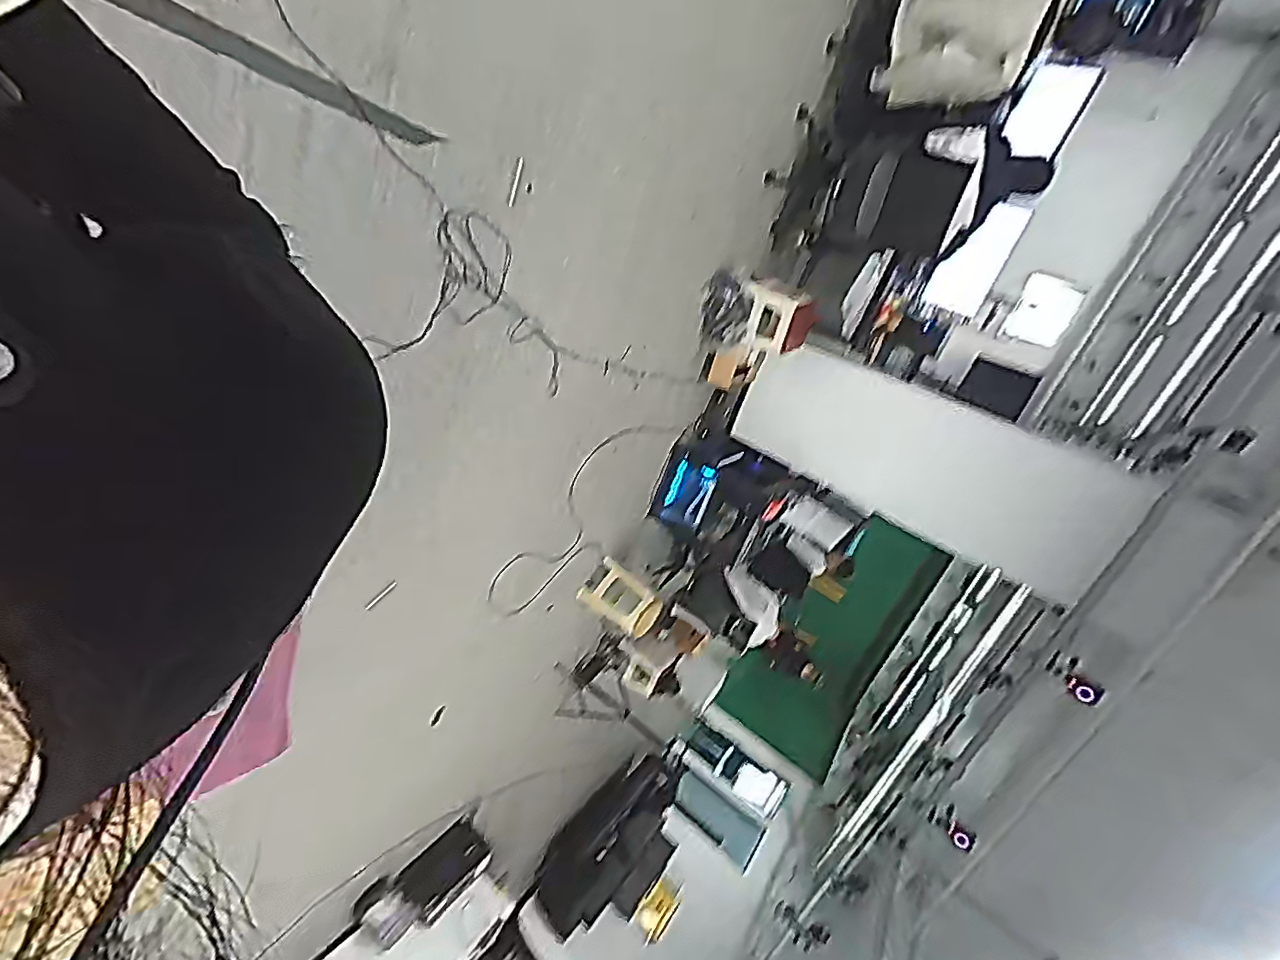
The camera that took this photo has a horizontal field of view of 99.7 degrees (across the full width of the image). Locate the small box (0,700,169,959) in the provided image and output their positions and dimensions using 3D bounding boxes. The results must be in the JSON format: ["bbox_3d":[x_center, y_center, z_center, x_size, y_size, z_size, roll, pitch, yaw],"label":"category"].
[{"bbox_3d":[-0.607,0.352,0.539,0.168,0.176,0.179,-16,132,-55],"label":"small box"}]
